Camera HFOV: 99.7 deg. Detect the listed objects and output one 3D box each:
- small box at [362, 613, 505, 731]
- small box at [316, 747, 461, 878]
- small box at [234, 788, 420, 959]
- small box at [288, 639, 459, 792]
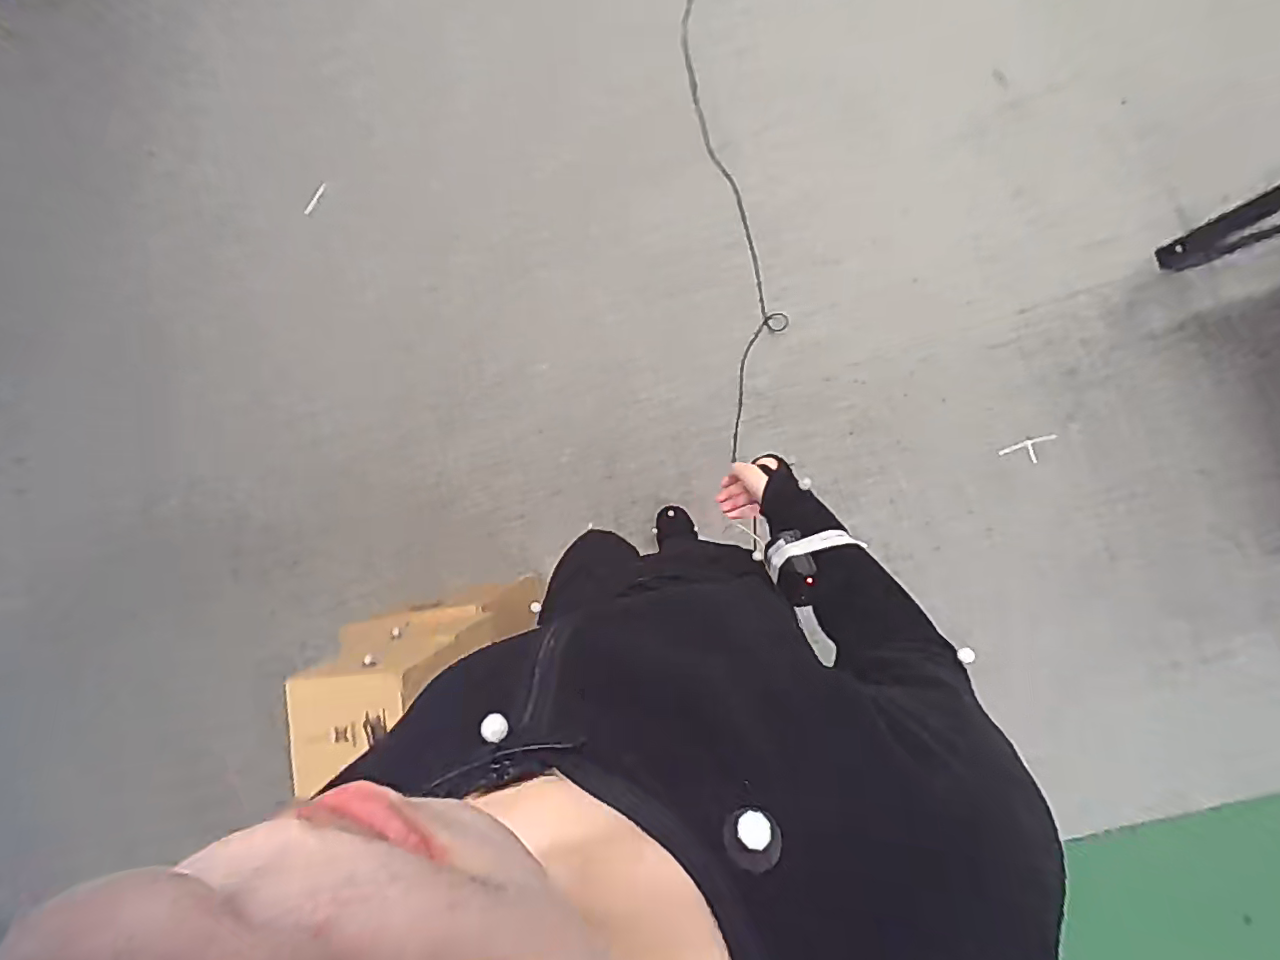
[{"bbox_3d":[-0.371,0.352,0.993,0.179,0.176,0.168,-10,88,7],"label":"small box"},{"bbox_3d":[-0.453,0.599,0.996,0.168,0.176,0.179,-13,87,6],"label":"small box"},{"bbox_3d":[-0.470,0.591,0.832,0.179,0.176,0.168,-9,89,6],"label":"small box"},{"bbox_3d":[-0.393,0.350,0.830,0.179,0.176,0.168,-6,88,8],"label":"small box"}]
